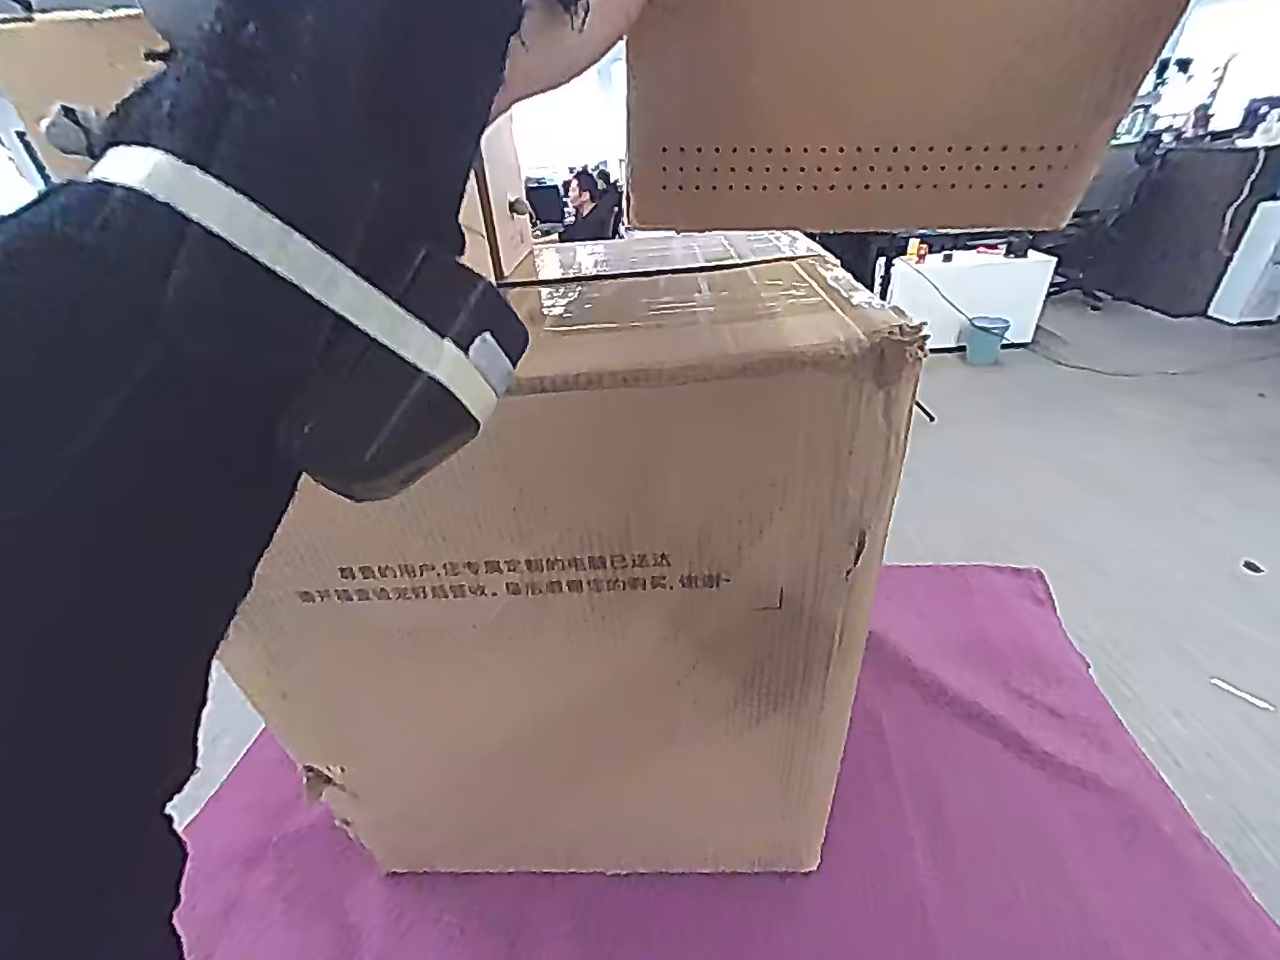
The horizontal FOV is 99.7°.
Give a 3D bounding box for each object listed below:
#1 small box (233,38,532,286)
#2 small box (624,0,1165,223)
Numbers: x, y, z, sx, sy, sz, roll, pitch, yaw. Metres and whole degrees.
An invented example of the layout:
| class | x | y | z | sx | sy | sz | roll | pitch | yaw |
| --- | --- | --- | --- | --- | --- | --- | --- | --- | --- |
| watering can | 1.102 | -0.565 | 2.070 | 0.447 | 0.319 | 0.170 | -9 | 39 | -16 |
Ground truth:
| class | x | y | z | sx | sy | sz | roll | pitch | yaw |
| --- | --- | --- | --- | --- | --- | --- | --- | --- | --- |
| small box | -0.210 | -0.284 | 0.503 | 0.179 | 0.176 | 0.168 | -3 | 32 | 1 |
| small box | 0.085 | -0.217 | 0.212 | 0.179 | 0.176 | 0.168 | 1 | 48 | 3 |
